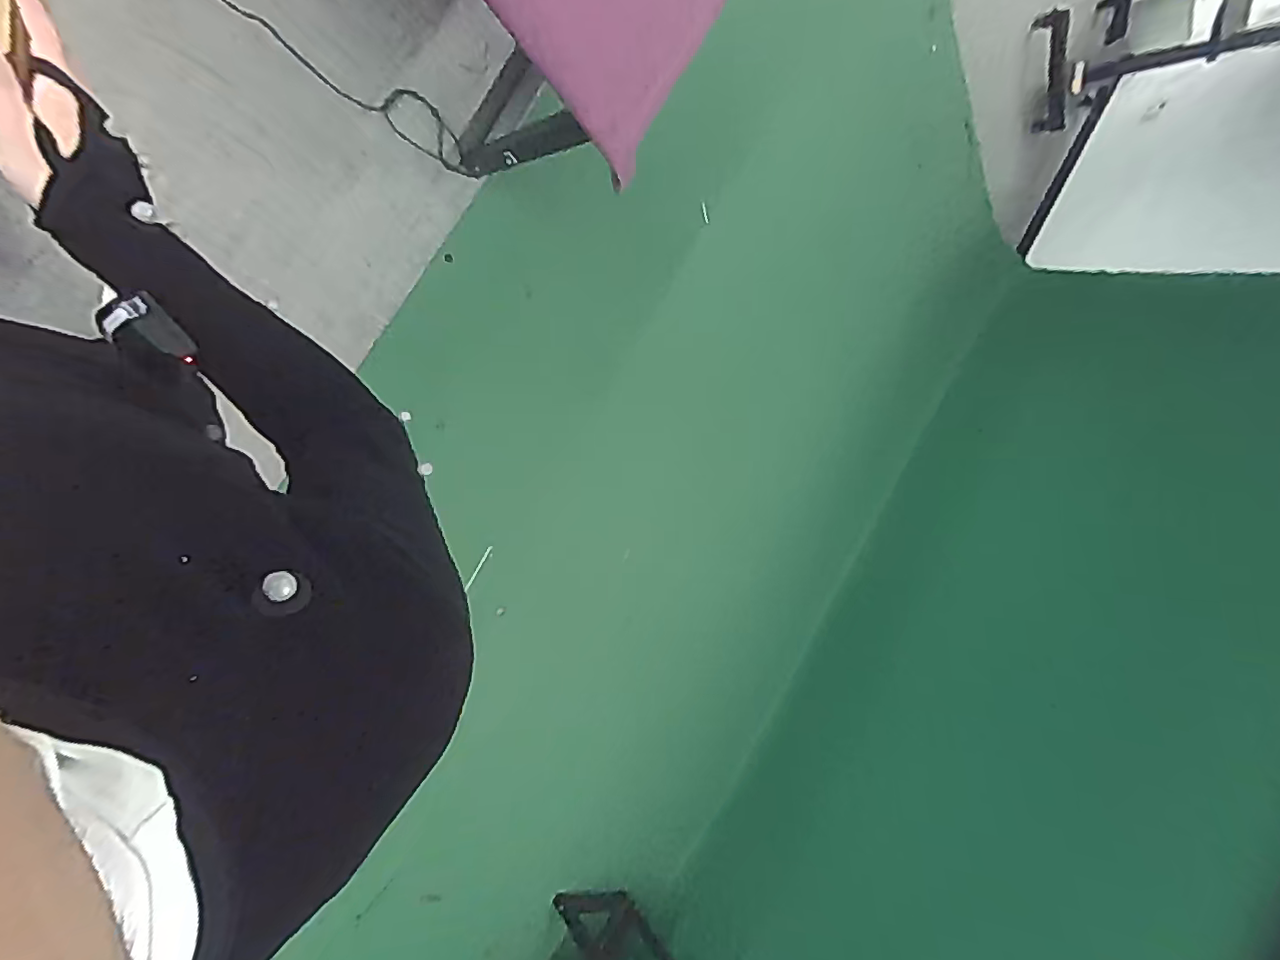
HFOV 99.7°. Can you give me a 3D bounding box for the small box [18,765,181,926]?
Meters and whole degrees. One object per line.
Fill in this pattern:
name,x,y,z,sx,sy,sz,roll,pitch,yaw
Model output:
small box,-1.066,0.723,1.089,0.168,0.176,0.179,-28,122,-28
